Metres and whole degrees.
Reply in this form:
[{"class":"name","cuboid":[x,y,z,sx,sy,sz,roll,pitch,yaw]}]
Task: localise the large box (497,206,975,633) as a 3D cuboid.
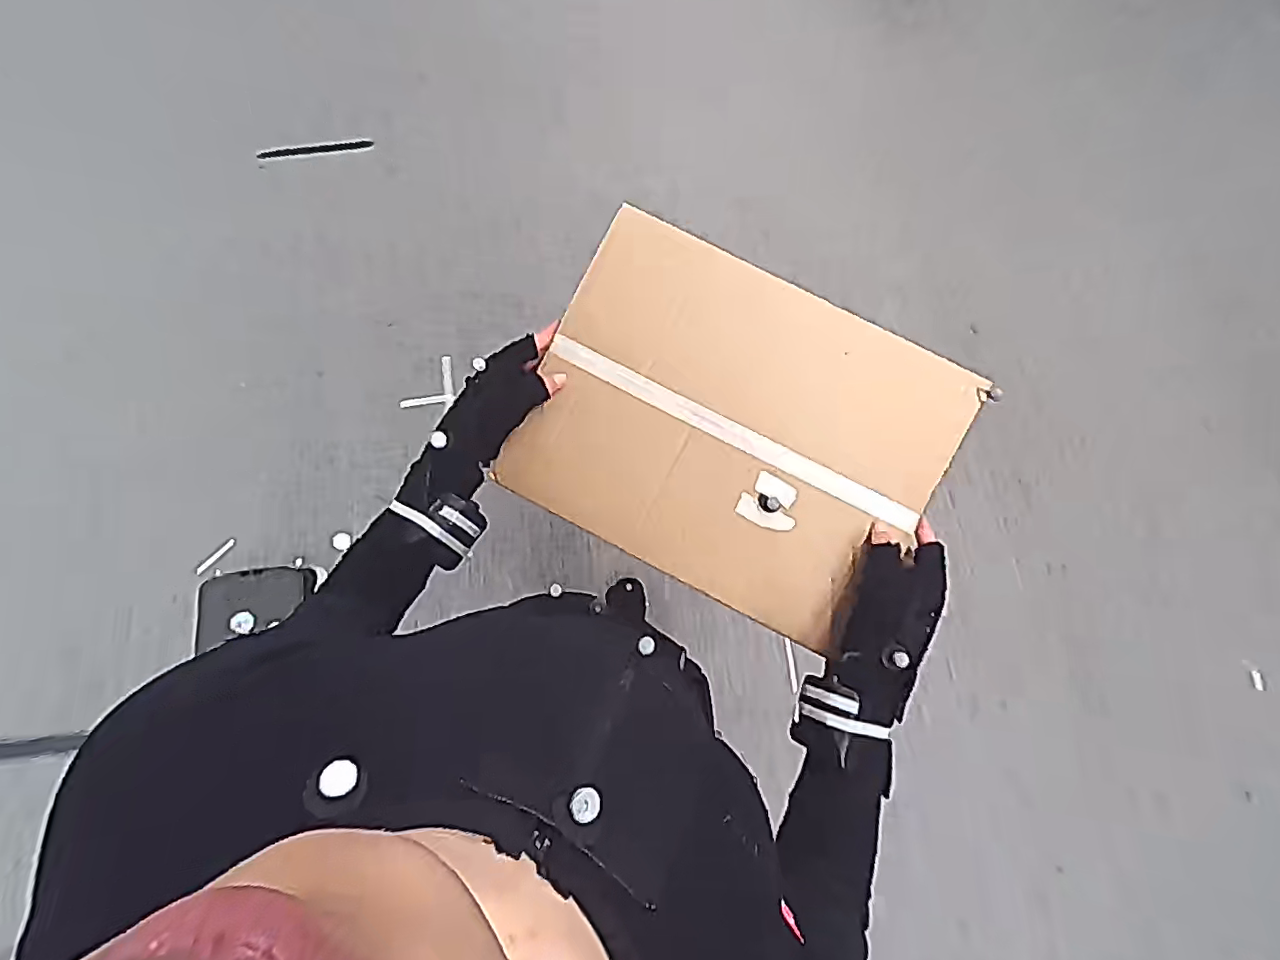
[{"class":"large box","cuboid":[0.097,-0.065,0.695,0.408,0.320,0.320,26,93,2]}]
